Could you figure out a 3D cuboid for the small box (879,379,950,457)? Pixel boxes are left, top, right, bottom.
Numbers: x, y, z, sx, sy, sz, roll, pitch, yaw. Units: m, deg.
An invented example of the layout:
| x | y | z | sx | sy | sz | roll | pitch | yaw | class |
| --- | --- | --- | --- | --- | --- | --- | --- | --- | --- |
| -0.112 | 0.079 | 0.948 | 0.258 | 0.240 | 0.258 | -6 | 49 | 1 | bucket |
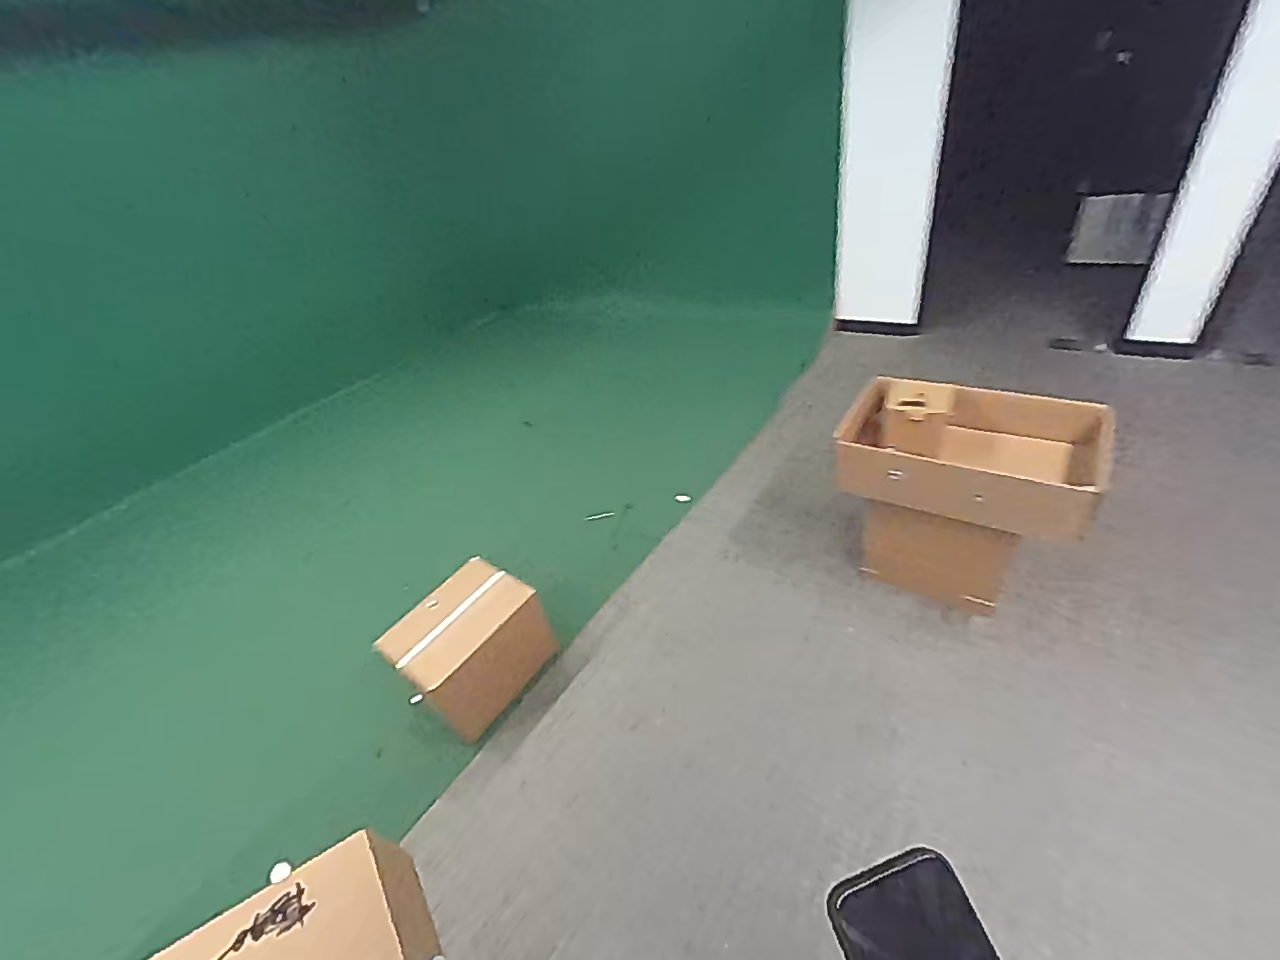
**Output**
| x | y | z | sx | sy | sz | roll | pitch | yaw | class |
| --- | --- | --- | --- | --- | --- | --- | --- | --- | --- |
| 0.824 | -0.187 | 1.630 | 0.168 | 0.176 | 0.179 | 10 | 41 | 28 | small box |
